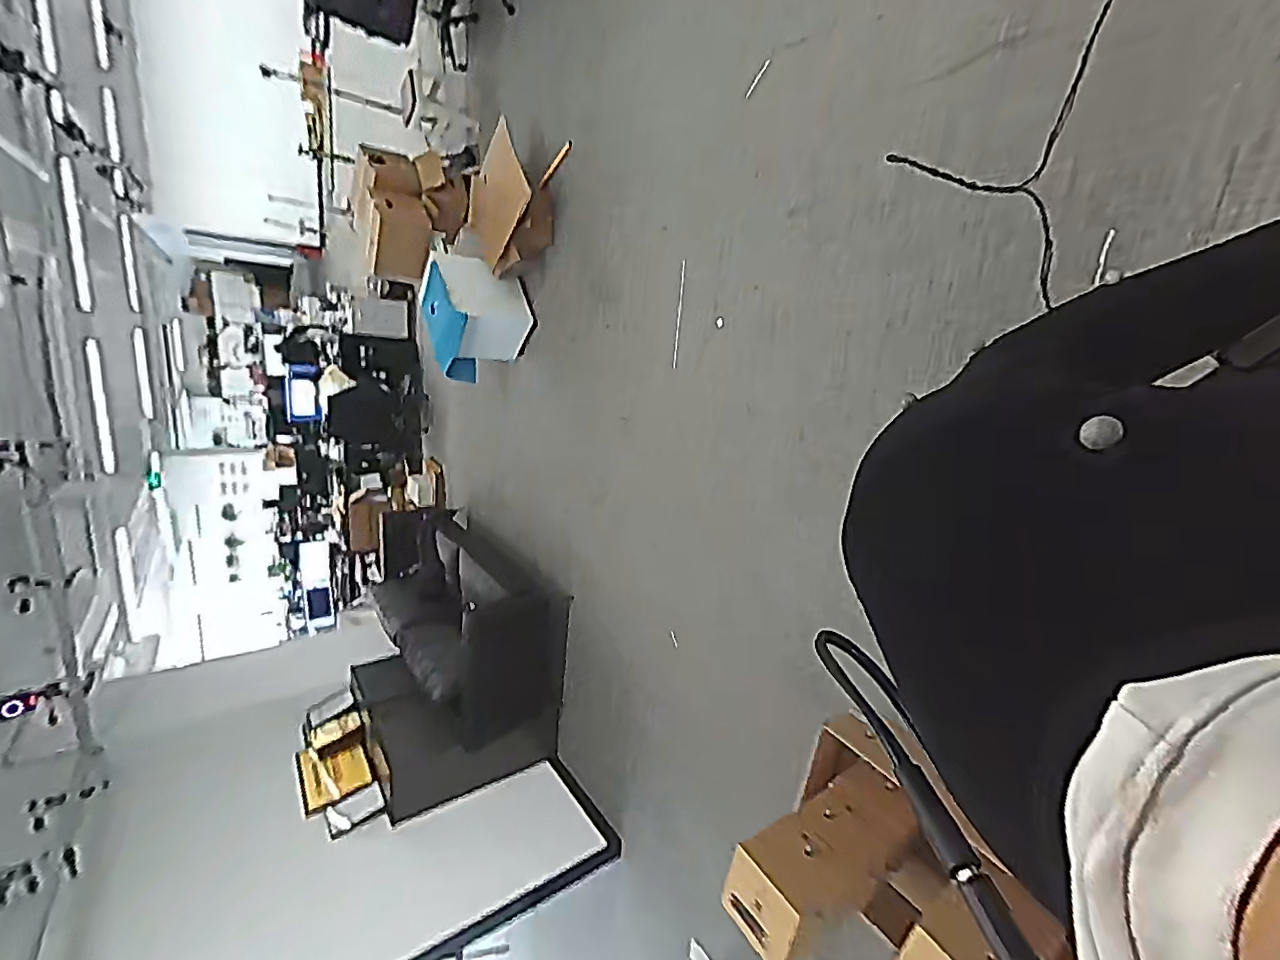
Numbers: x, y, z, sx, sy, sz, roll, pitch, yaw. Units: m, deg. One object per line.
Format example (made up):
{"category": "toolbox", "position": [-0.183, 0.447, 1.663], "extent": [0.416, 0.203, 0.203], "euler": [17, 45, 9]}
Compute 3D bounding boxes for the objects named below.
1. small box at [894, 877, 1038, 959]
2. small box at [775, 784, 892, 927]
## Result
{"category": "small box", "position": [0.606, 0.903, 1.010], "extent": [0.168, 0.176, 0.179], "euler": [34, 121, 46]}
{"category": "small box", "position": [0.439, 0.836, 1.224], "extent": [0.168, 0.176, 0.179], "euler": [31, 118, 49]}
